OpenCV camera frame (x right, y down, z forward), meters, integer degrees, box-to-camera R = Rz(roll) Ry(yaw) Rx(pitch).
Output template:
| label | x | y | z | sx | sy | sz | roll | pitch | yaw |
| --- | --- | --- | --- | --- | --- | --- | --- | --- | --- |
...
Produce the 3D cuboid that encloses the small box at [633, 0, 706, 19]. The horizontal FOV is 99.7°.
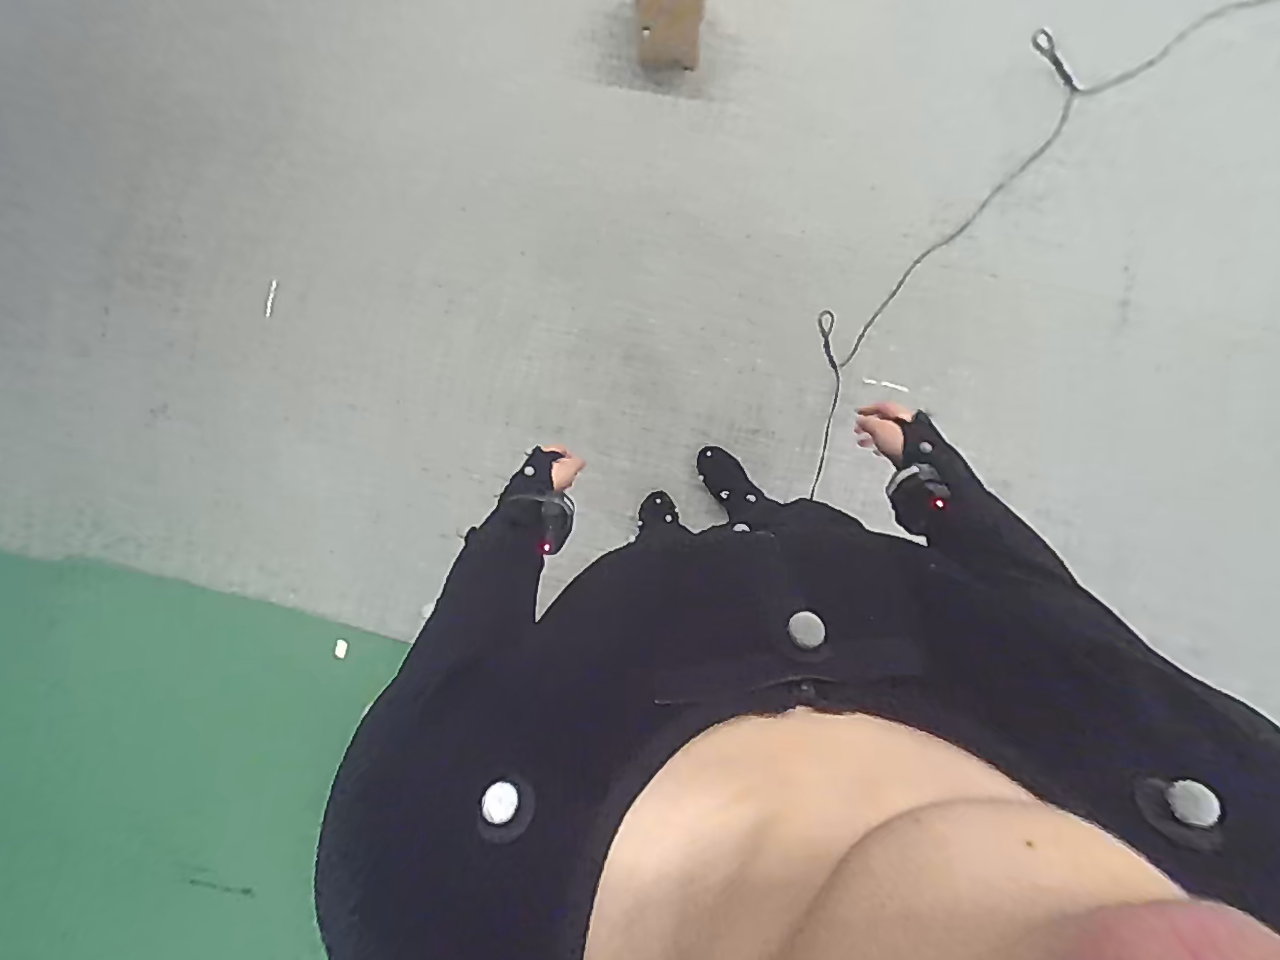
| label | x | y | z | sx | sy | sz | roll | pitch | yaw |
| --- | --- | --- | --- | --- | --- | --- | --- | --- | --- |
| small box | 0.075 | -1.201 | 1.228 | 0.179 | 0.176 | 0.168 | 11 | 93 | 3 |
